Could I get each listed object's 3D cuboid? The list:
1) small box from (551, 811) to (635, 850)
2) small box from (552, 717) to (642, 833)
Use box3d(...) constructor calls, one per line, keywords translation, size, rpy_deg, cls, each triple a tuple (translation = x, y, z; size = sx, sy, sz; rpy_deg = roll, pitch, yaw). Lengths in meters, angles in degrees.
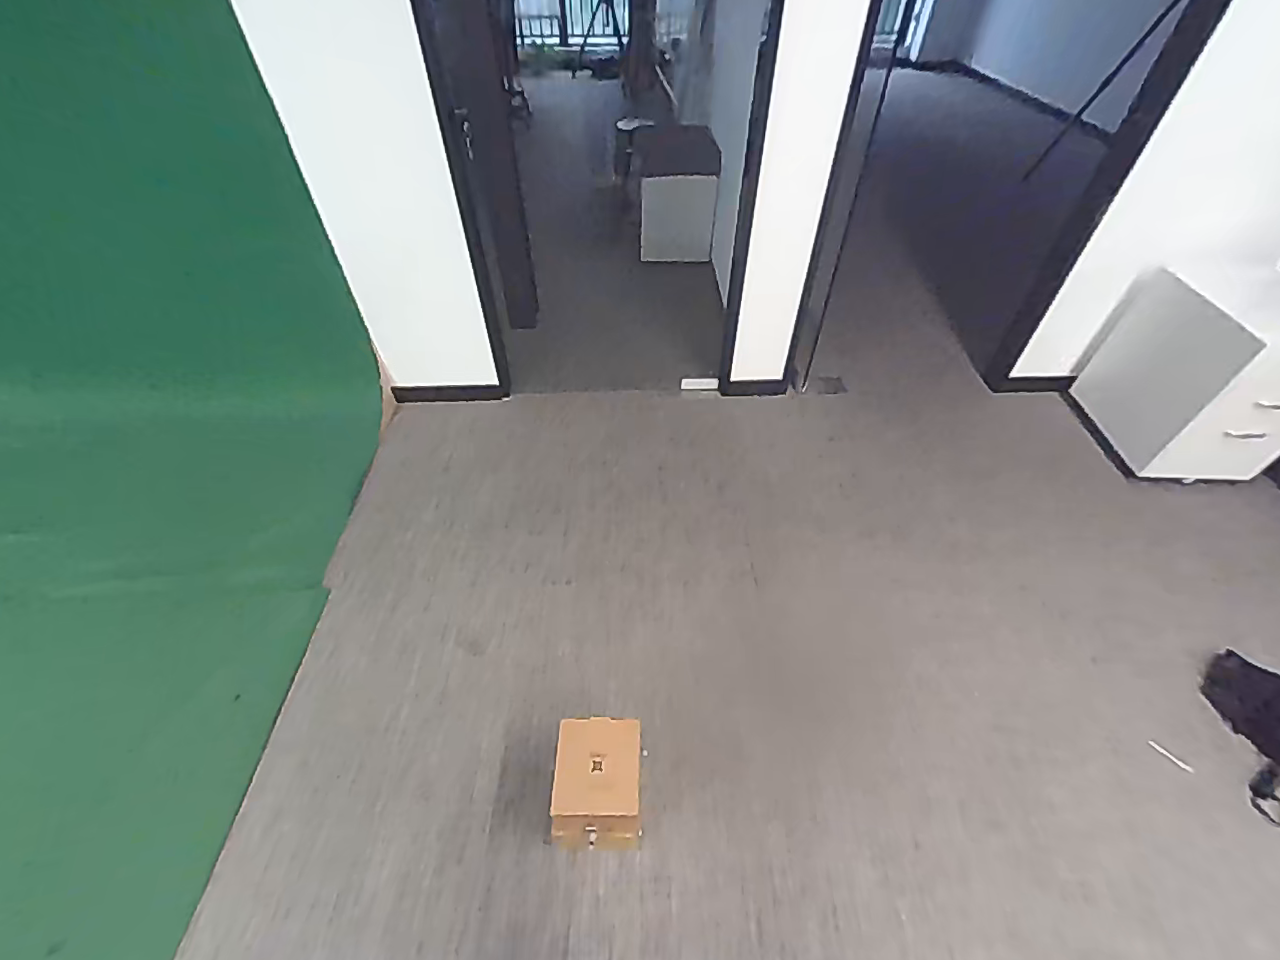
box3d(translation=(-0.097, 0.728, 1.228), size=(0.179, 0.176, 0.168), rpy_deg=(0, 46, 1), cls="small box")
box3d(translation=(-0.082, 0.610, 1.118), size=(0.168, 0.176, 0.179), rpy_deg=(-1, 47, 1), cls="small box")
